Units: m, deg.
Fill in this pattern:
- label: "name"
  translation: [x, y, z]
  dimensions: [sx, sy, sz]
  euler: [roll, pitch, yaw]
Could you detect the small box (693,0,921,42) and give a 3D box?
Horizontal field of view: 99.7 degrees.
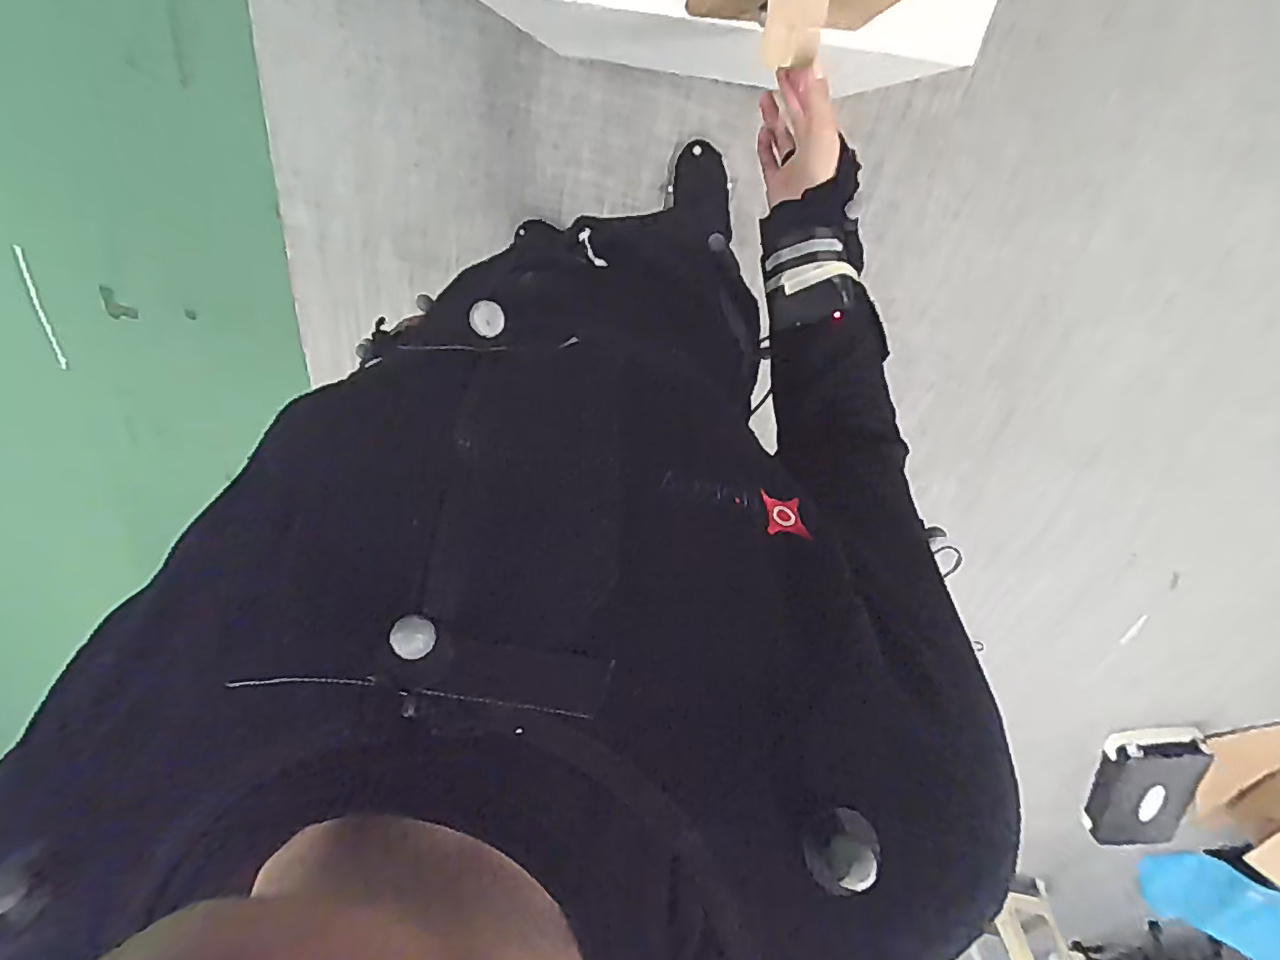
- label: "small box"
  translation: [0.130, -0.458, 0.401]
  dimensions: [0.168, 0.176, 0.179]
  euler: [6, 121, 0]
